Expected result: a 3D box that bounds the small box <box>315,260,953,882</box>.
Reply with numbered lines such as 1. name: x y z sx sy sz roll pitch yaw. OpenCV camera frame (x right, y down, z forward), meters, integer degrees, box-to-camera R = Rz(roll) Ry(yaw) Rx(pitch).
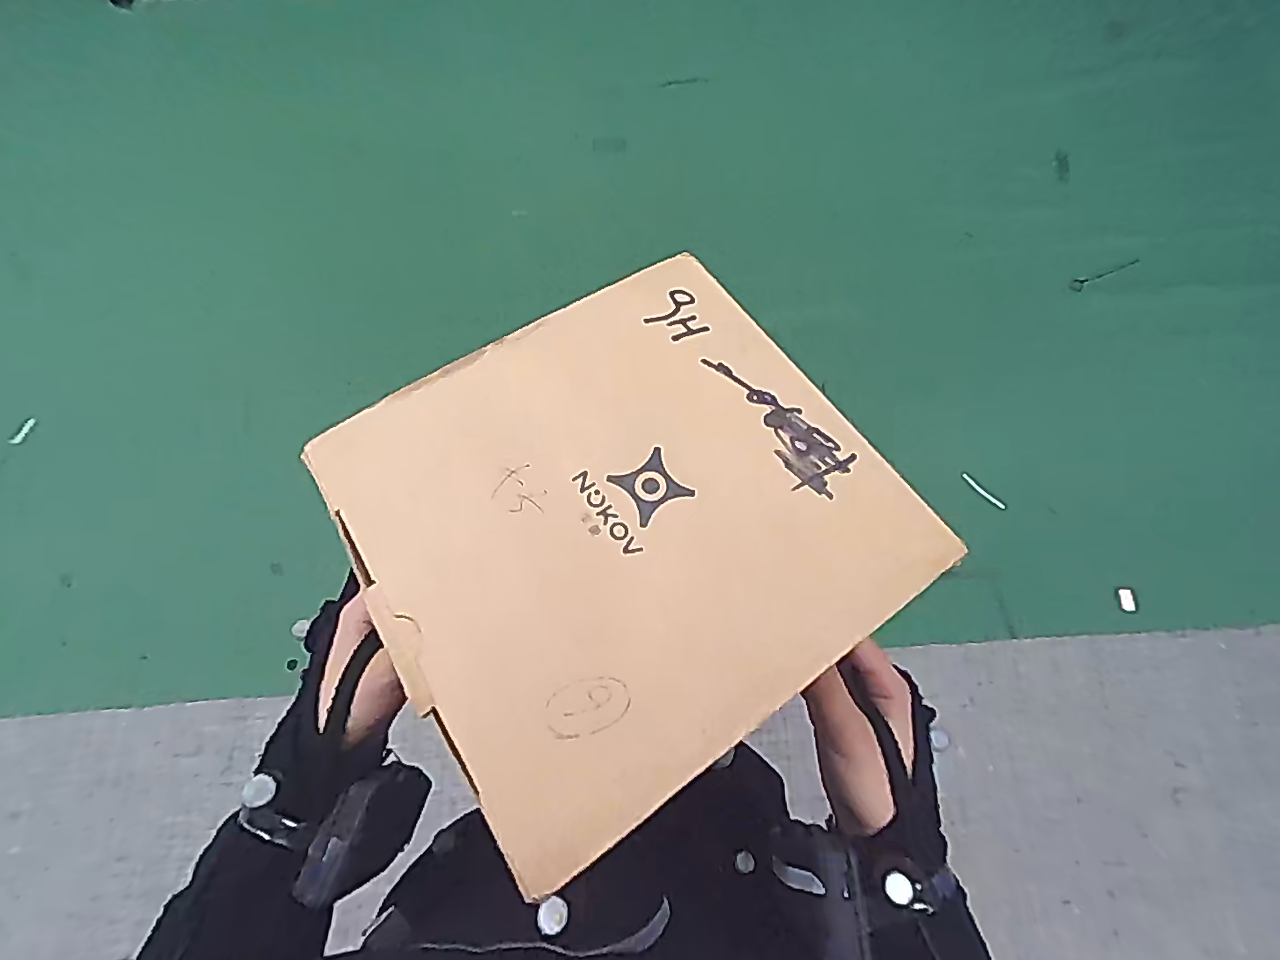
1. small box: -0.006 0.039 0.265 0.179 0.176 0.168 -32 71 -14
